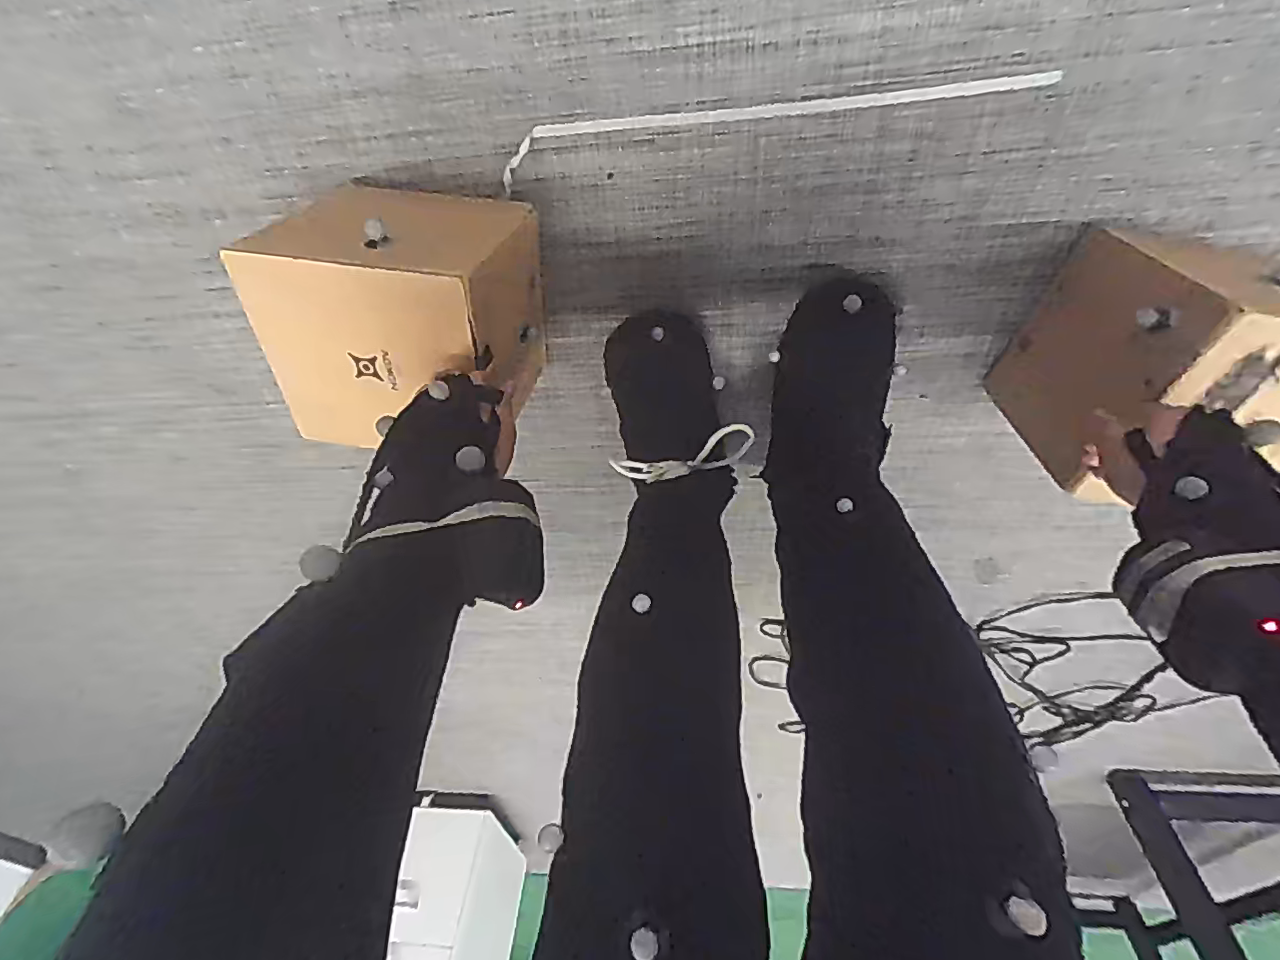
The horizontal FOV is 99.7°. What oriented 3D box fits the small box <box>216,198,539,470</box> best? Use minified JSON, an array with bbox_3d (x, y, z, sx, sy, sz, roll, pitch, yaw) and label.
[{"bbox_3d":[-0.198,-0.132,0.472,0.179,0.176,0.168,7,132,2],"label":"small box"}]
